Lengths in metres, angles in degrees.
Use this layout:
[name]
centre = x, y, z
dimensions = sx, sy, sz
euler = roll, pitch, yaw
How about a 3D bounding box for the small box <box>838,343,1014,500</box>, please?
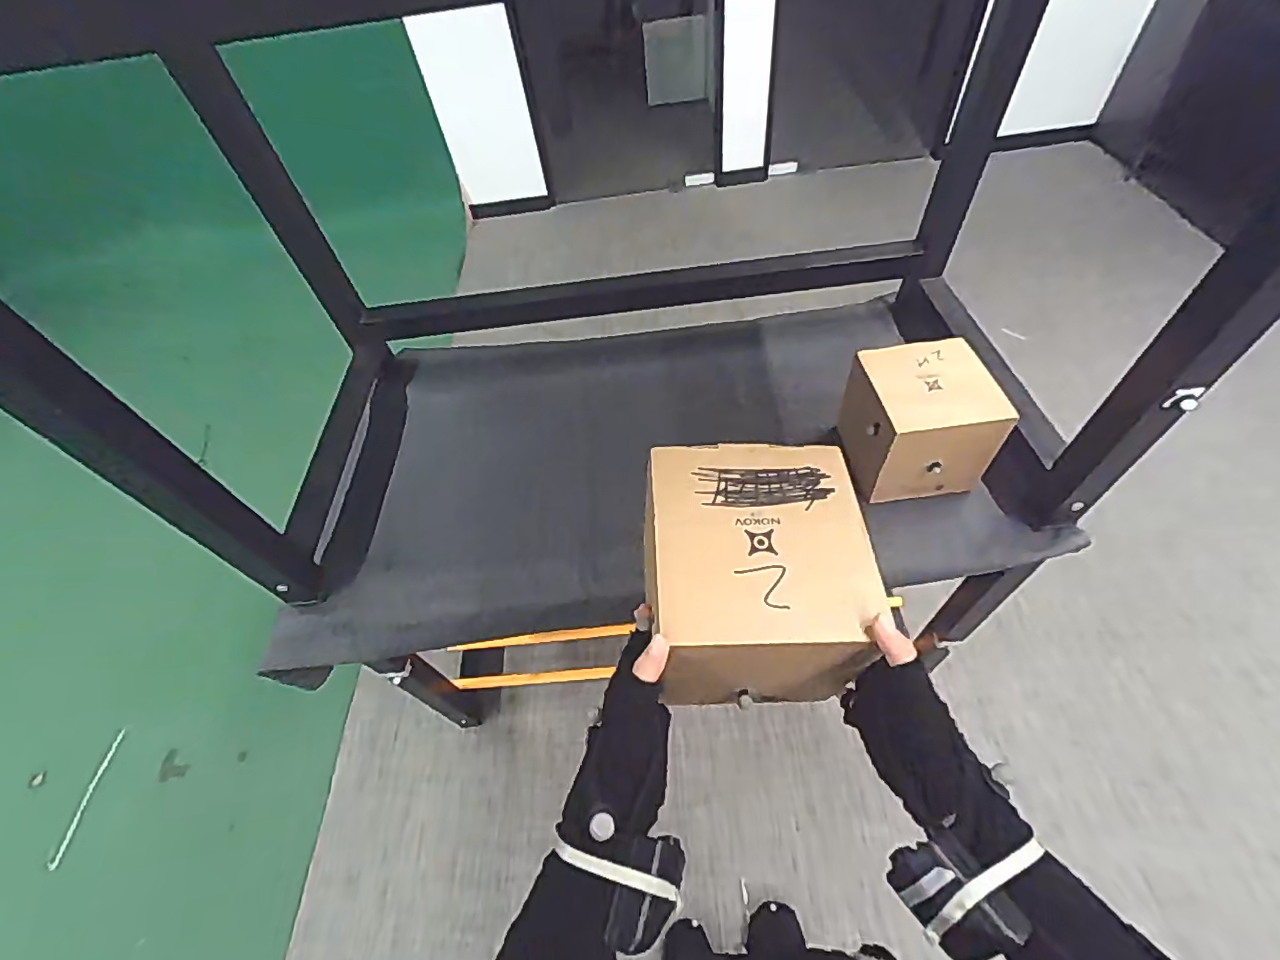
[small box]
centre = 0.426, -0.083, 0.842
dimensions = 0.168, 0.176, 0.179
euler = -7, 51, 2
